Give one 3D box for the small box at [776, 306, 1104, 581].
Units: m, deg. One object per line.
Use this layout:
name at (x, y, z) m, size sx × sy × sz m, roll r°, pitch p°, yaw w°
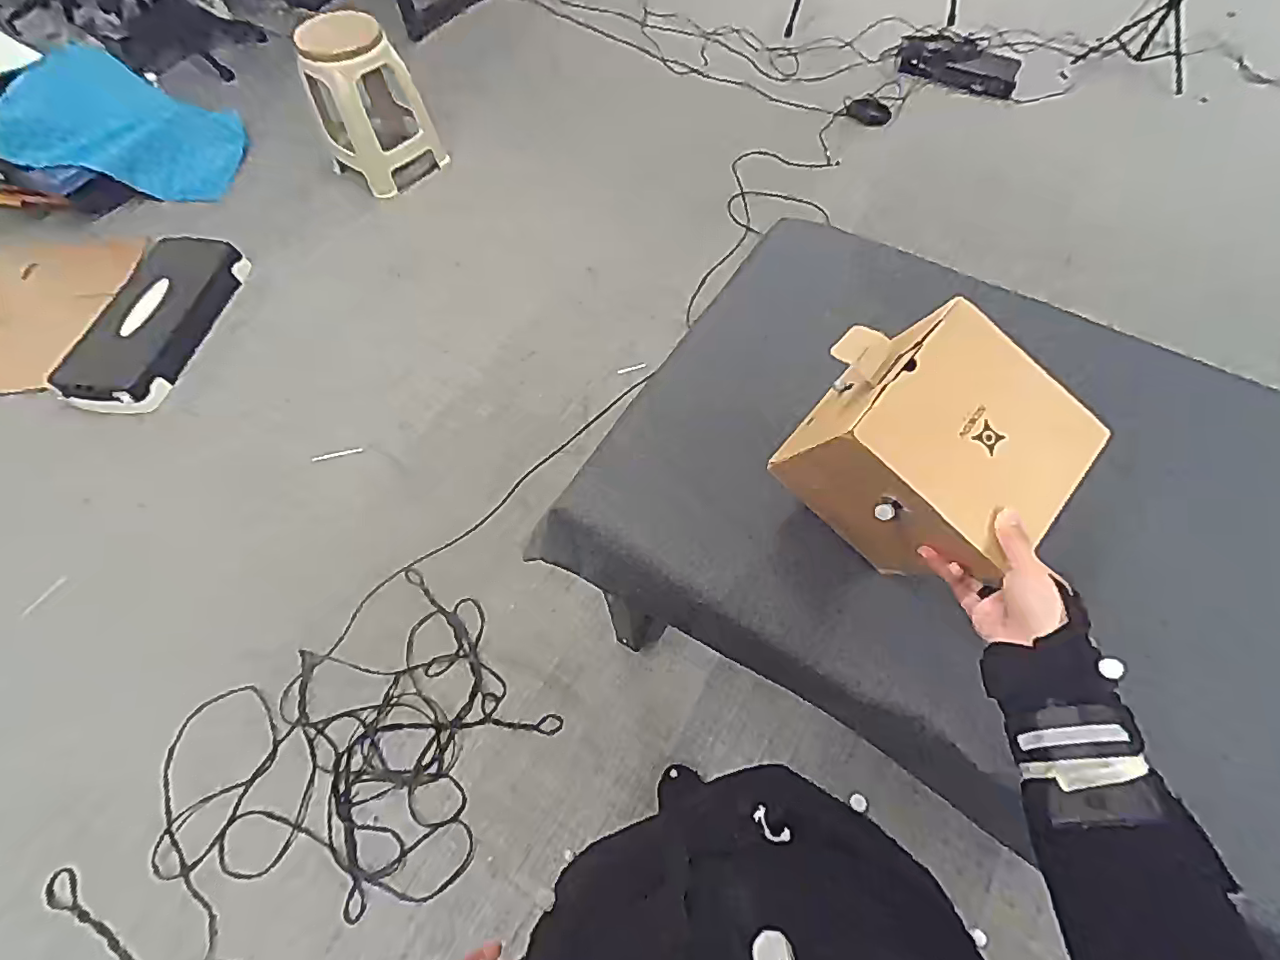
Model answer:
small box at (0.268, -0.023, 0.521) m, size 0.179 × 0.176 × 0.168 m, roll 43°, pitch 77°, yaw 1°
